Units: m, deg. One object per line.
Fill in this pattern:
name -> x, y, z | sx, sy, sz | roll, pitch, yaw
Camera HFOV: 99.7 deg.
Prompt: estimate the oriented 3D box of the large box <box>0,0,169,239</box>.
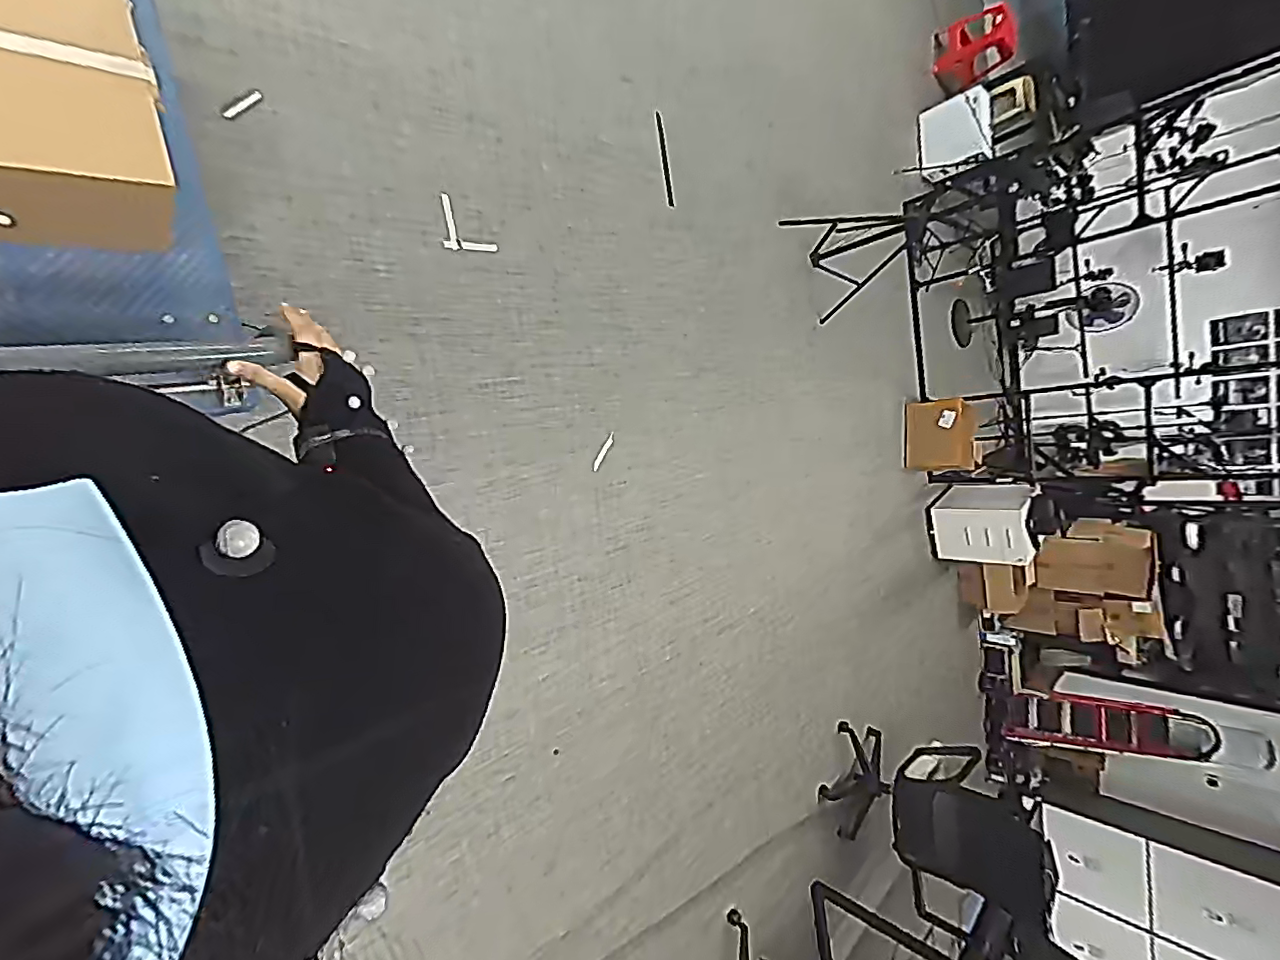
large box -> -0.985, -0.565, 0.783 | 0.408, 0.320, 0.320 | -16, 99, -41
